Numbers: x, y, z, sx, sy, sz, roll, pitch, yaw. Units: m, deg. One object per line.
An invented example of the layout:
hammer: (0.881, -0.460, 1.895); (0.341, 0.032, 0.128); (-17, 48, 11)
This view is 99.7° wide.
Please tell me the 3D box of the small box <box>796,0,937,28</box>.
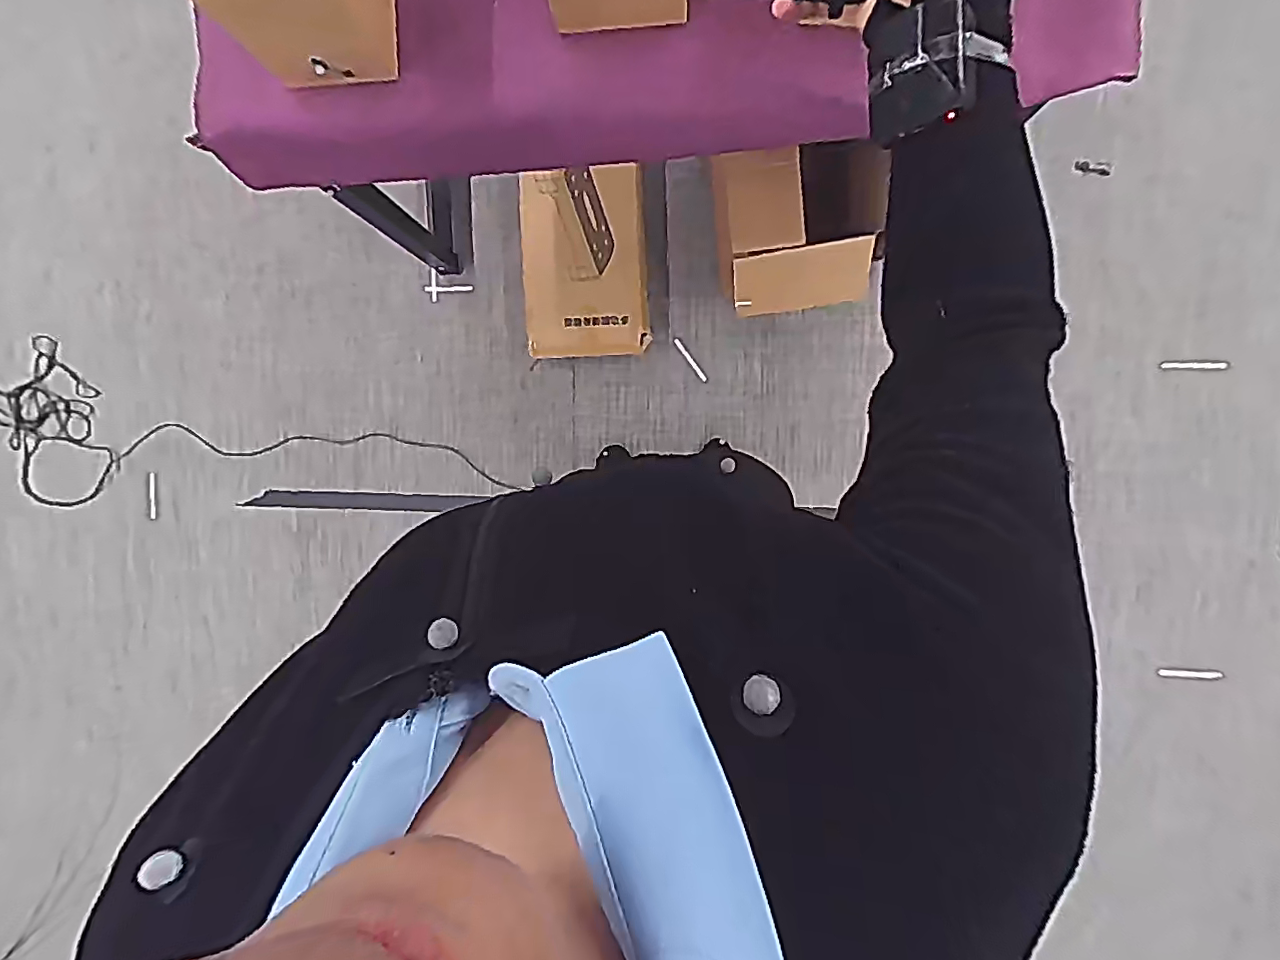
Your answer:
small box: (0.285, -0.661, 0.613); (0.179, 0.176, 0.168); (6, 94, 4)

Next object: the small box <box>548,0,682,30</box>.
small box: (-0.032, -0.677, 0.633); (0.179, 0.176, 0.168); (-2, 91, 4)
